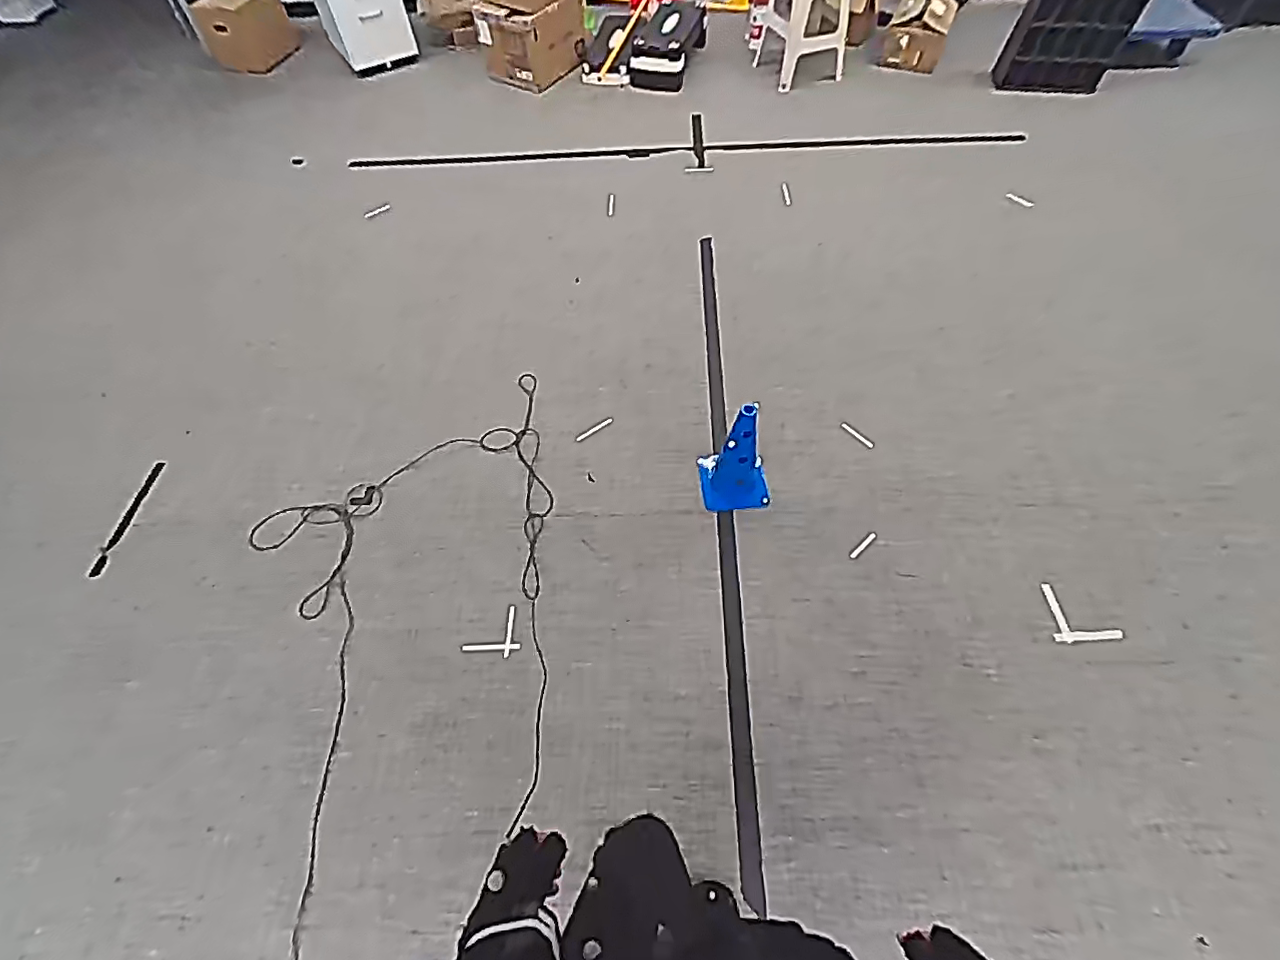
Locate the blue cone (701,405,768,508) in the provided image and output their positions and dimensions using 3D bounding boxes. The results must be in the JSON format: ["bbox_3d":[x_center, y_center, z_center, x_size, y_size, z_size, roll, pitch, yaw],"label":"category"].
[{"bbox_3d":[0.287,-0.082,1.540,0.192,0.380,0.193,-3,59,-1],"label":"blue cone"}]
